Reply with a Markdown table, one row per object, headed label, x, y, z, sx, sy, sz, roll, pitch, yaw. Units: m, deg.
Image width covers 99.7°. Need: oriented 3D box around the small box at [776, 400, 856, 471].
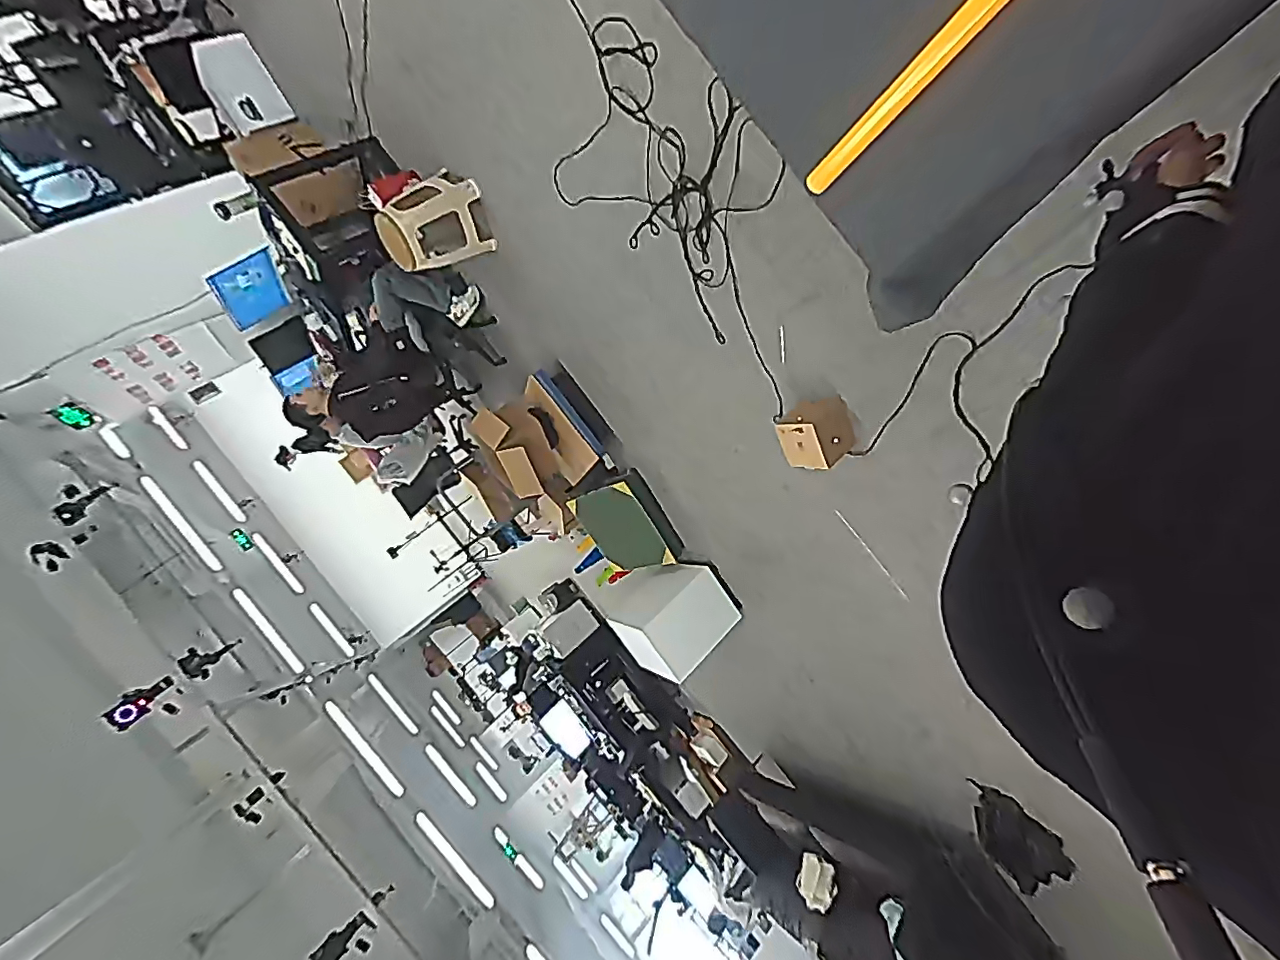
| label | x | y | z | sx | sy | sz | roll | pitch | yaw |
| --- | --- | --- | --- | --- | --- | --- | --- | --- | --- |
| small box | 0.600 | -0.151 | 1.826 | 0.168 | 0.176 | 0.179 | 8 | 131 | 57 |
